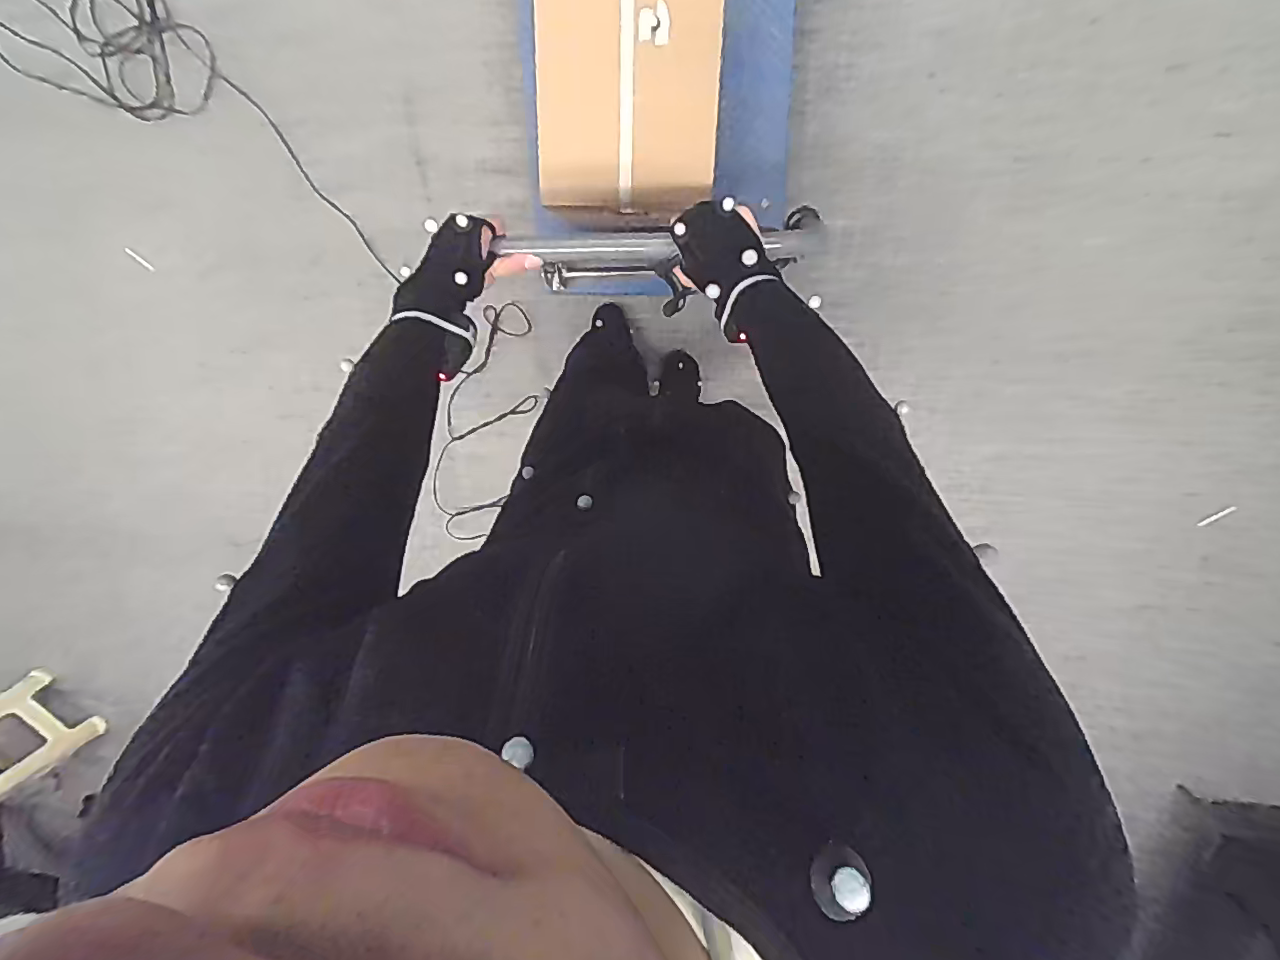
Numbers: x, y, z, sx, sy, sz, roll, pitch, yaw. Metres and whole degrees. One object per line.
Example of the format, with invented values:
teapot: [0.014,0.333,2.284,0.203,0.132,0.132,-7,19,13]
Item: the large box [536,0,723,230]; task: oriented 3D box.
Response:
large box: [-0.006,-0.725,1.056,0.320,0.320,0.408,3,109,5]
